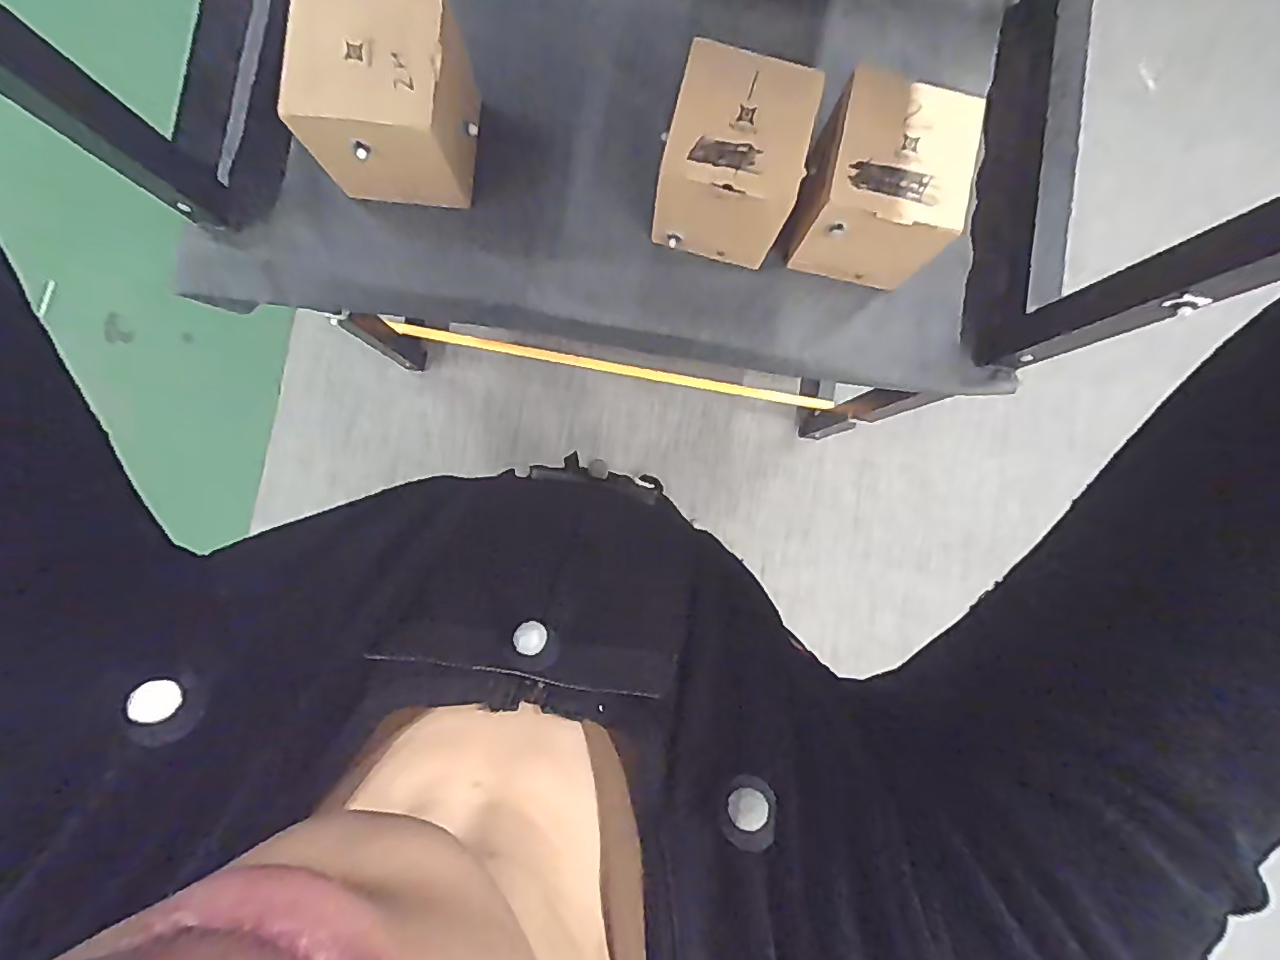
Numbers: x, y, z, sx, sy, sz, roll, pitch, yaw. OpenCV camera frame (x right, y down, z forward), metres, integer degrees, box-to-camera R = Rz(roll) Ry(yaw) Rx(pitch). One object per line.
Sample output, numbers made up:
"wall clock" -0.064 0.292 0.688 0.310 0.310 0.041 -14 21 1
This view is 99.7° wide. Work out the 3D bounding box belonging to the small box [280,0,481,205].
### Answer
"small box" -0.322 -0.484 0.703 0.179 0.176 0.168 5 87 -3
